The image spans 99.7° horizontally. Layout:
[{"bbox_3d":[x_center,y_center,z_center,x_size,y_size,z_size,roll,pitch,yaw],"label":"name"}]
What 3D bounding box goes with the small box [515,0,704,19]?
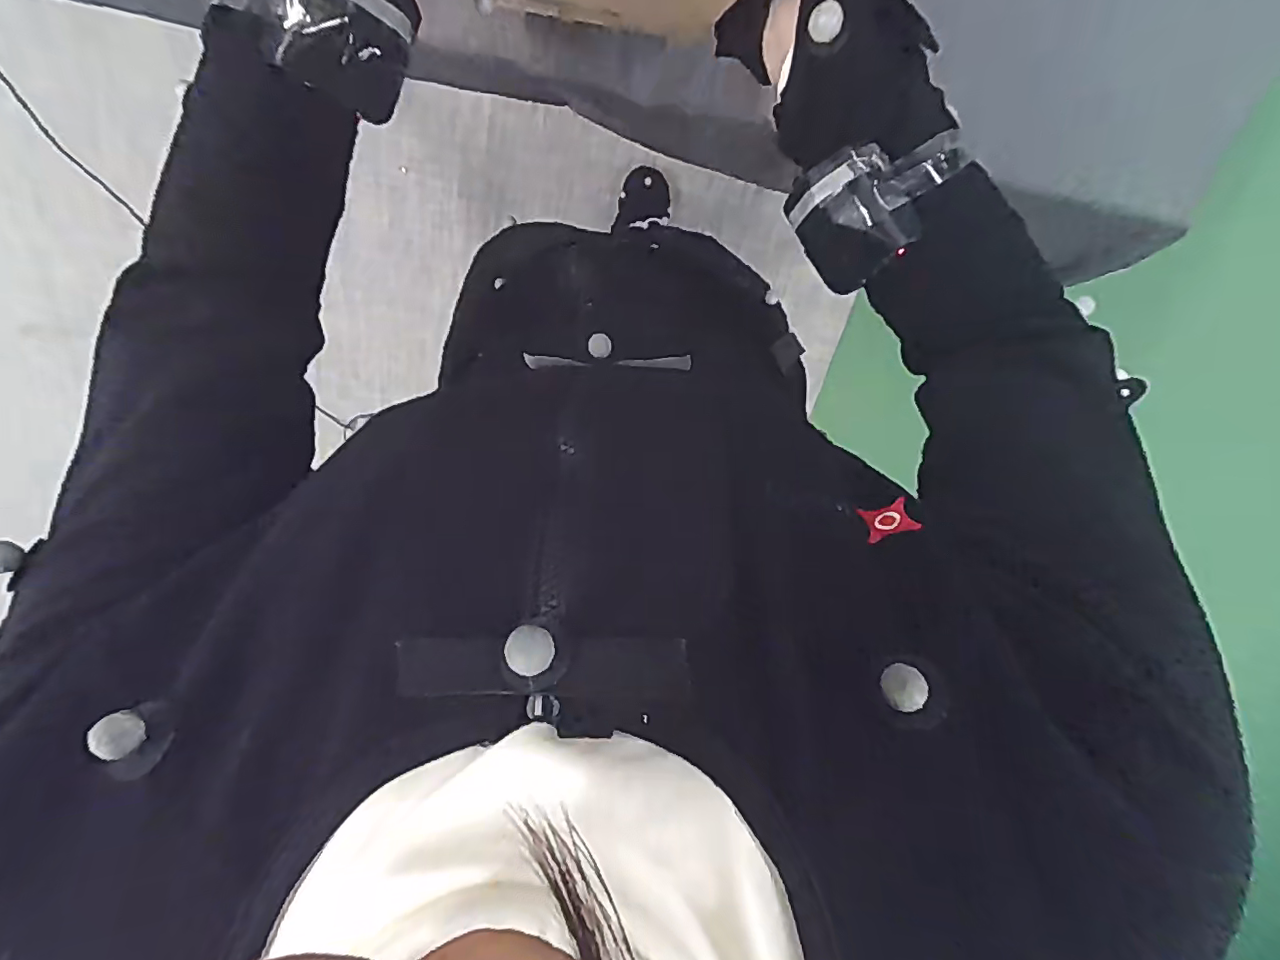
[{"bbox_3d":[-0.025,-0.430,0.354,0.179,0.176,0.168,3,121,-4],"label":"small box"}]
